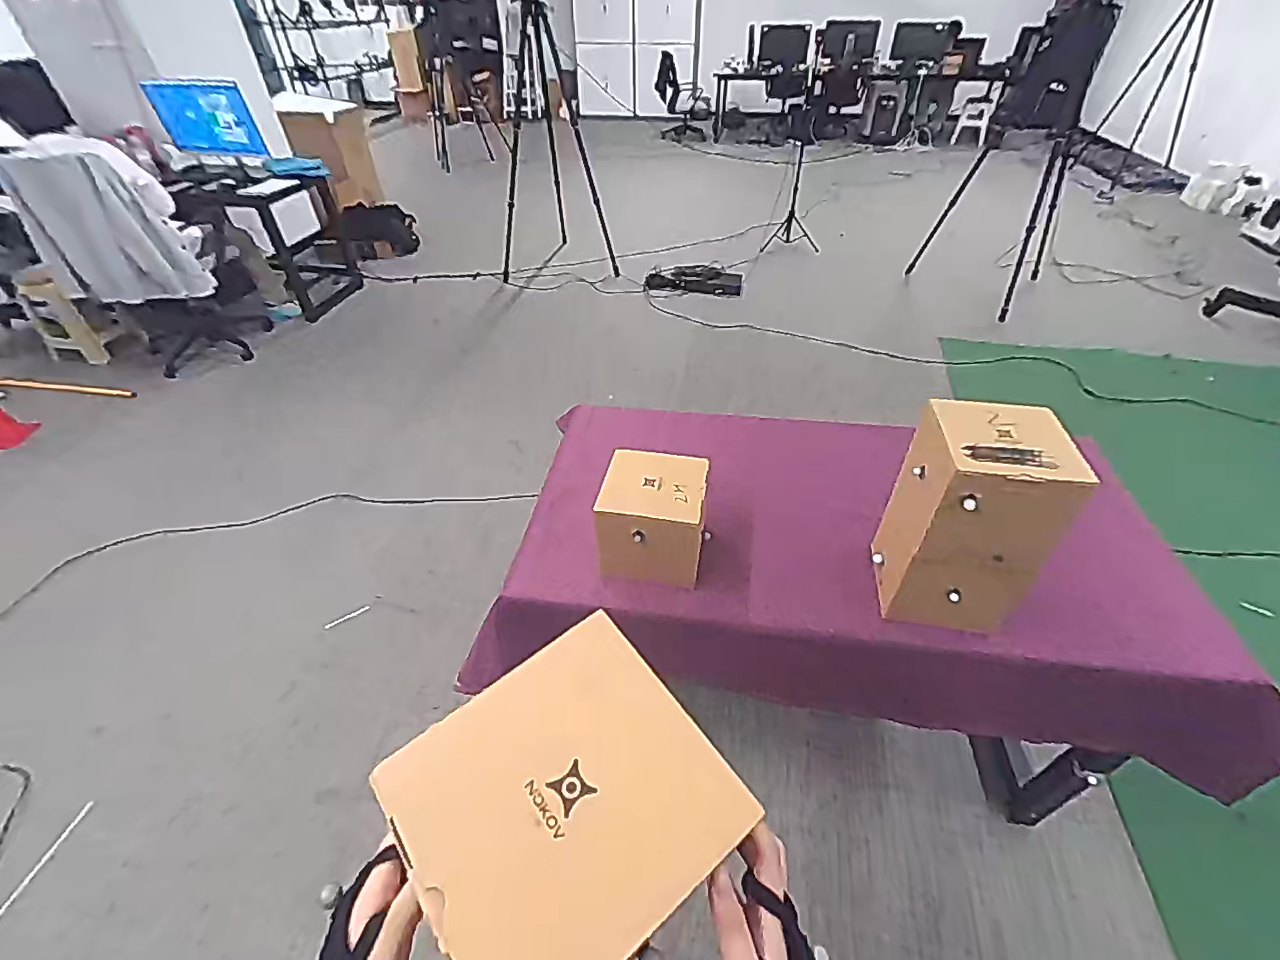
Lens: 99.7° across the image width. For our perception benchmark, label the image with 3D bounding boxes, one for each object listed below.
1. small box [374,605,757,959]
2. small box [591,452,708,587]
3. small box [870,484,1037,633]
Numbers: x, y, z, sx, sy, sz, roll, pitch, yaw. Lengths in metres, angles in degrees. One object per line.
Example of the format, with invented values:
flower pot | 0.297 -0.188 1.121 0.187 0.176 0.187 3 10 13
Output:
small box | -0.048 0.230 0.385 0.179 0.176 0.168 -32 58 -23
small box | 0.023 0.073 0.970 0.179 0.176 0.168 7 42 9
small box | 0.499 0.131 0.891 0.179 0.176 0.168 6 41 10
